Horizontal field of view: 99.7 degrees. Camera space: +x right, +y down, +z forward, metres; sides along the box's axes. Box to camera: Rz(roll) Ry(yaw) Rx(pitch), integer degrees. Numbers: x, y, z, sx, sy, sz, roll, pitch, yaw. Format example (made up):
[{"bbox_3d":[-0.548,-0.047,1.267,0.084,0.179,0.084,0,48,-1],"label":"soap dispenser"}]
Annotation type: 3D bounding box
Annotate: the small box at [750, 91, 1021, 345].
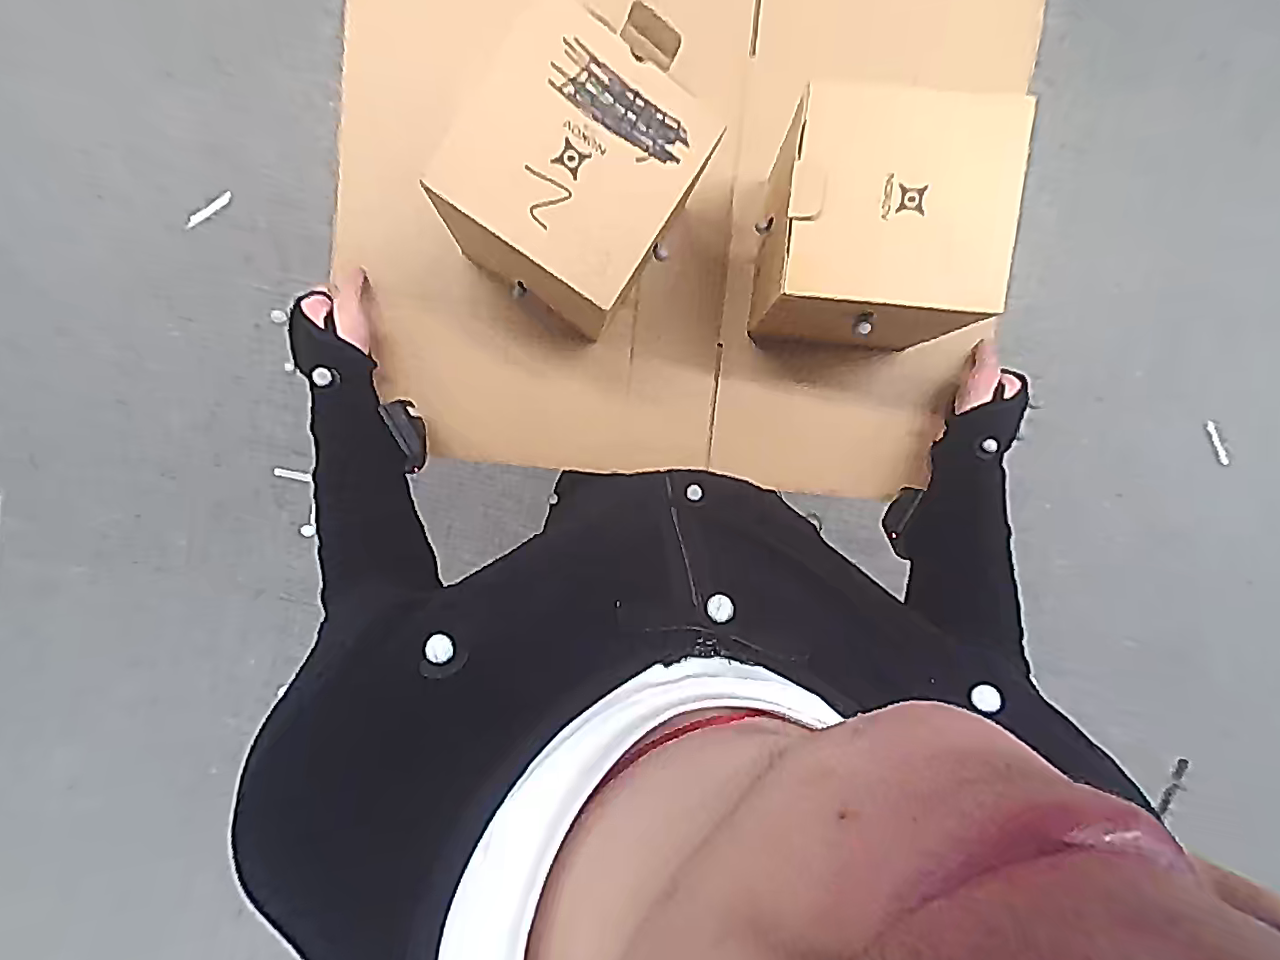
[{"bbox_3d":[0.214,-0.230,0.519,0.179,0.176,0.168,6,94,2],"label":"small box"}]
